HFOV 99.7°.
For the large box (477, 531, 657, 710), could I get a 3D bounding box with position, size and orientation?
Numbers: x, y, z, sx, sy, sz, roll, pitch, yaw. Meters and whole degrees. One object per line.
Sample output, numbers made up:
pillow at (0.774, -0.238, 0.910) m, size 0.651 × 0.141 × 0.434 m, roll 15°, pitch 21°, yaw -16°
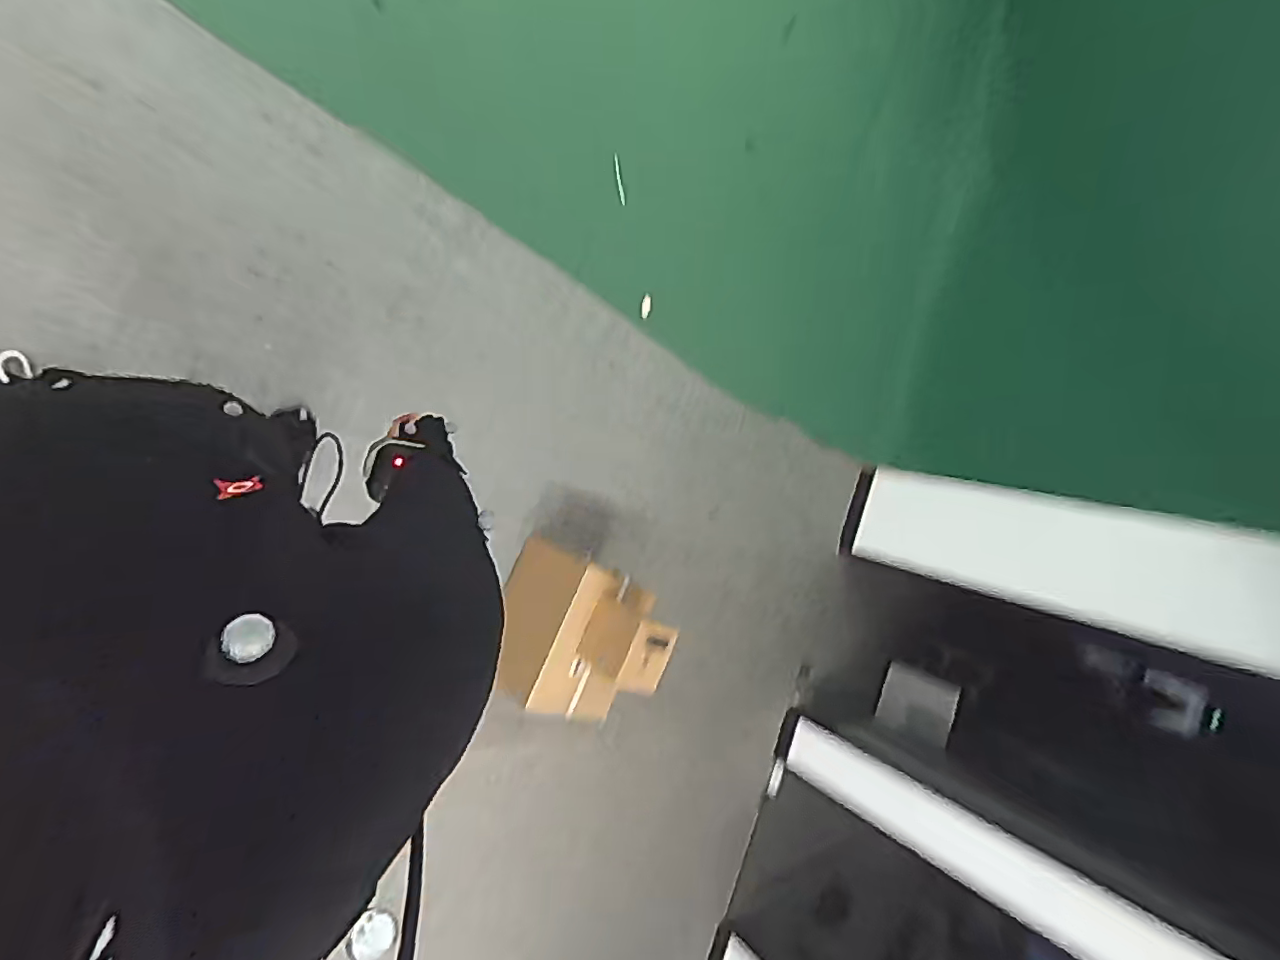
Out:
large box at (-0.217, 0.411, 1.612) m, size 0.320 × 0.320 × 0.408 m, roll 30°, pitch 82°, yaw -42°
